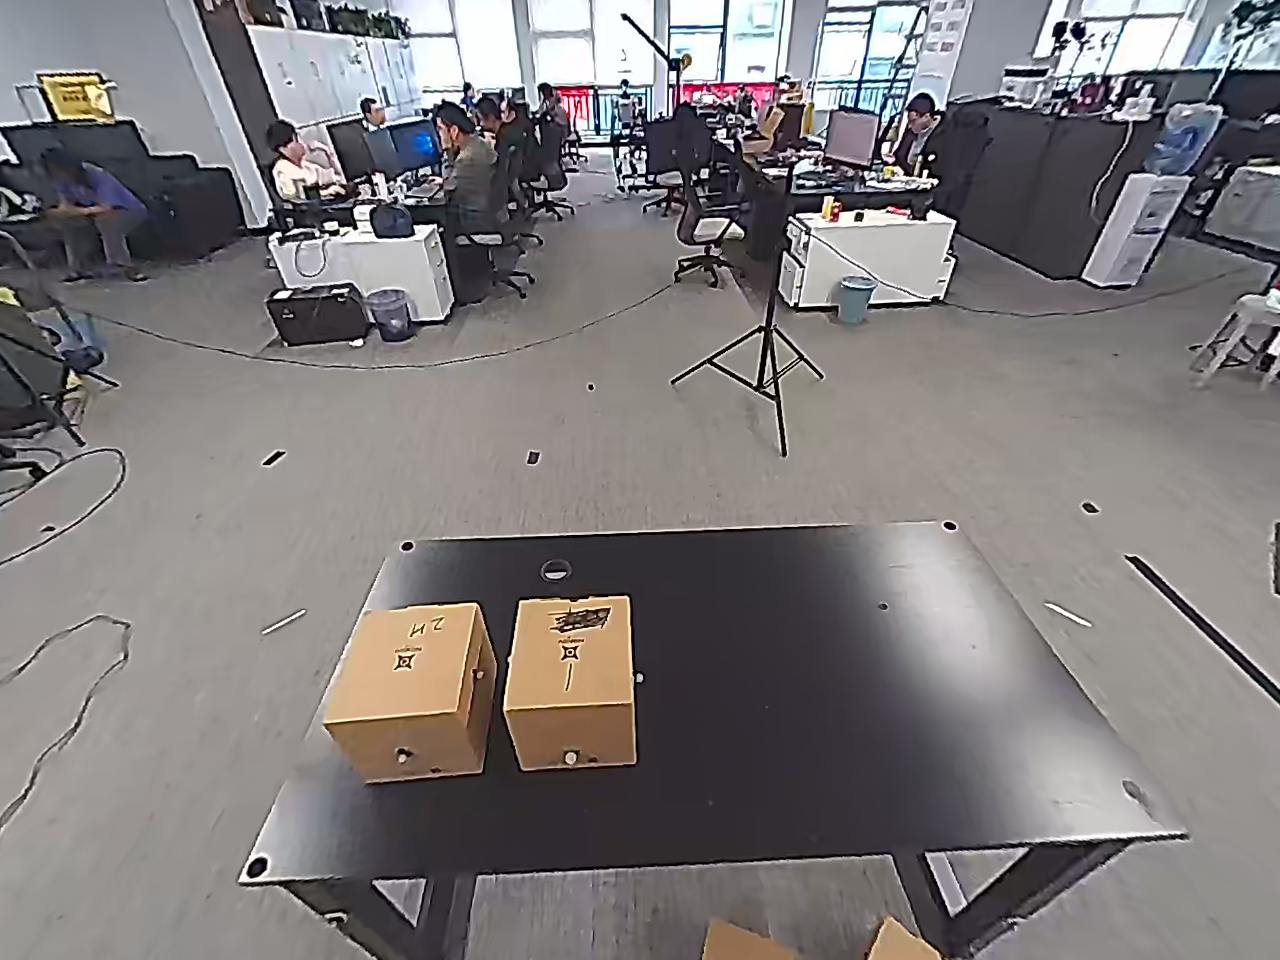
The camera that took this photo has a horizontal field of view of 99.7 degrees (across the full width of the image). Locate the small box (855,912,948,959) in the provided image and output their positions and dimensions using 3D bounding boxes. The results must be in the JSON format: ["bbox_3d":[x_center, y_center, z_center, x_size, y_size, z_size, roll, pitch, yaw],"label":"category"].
[{"bbox_3d":[0.504,1.003,1.046,0.168,0.176,0.179,27,46,32],"label":"small box"}]

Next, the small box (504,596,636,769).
[{"bbox_3d":[-0.092,0.294,0.792,0.168,0.176,0.179,-3,38,-1],"label":"small box"}]

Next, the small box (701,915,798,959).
[{"bbox_3d":[0.200,1.004,1.059,0.179,0.176,0.168,10,39,16],"label":"small box"}]
